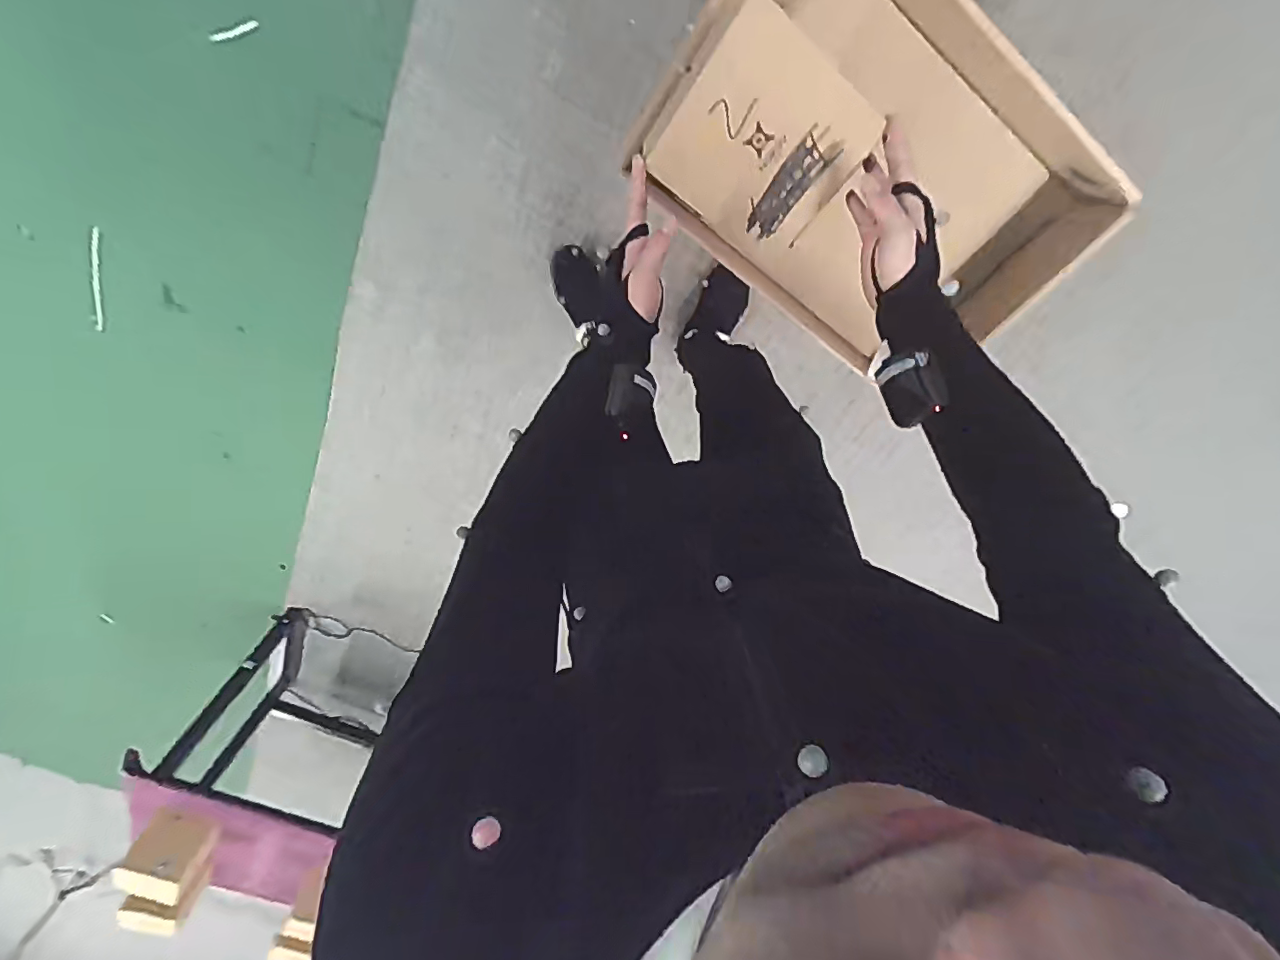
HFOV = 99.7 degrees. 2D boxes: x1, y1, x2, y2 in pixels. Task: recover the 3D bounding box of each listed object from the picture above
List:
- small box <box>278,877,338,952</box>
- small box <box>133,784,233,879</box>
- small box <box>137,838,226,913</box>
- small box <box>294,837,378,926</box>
[{"bbox_3d":[-1.122,1.499,1.890,0.168,0.176,0.179,28,120,-10],"label":"small box"},{"bbox_3d":[-1.363,1.052,1.621,0.168,0.176,0.179,27,122,-12],"label":"small box"},{"bbox_3d":[-1.527,1.305,1.810,0.168,0.176,0.179,24,122,-12],"label":"small box"},{"bbox_3d":[-0.961,1.274,1.718,0.168,0.176,0.179,26,124,-10],"label":"small box"}]
